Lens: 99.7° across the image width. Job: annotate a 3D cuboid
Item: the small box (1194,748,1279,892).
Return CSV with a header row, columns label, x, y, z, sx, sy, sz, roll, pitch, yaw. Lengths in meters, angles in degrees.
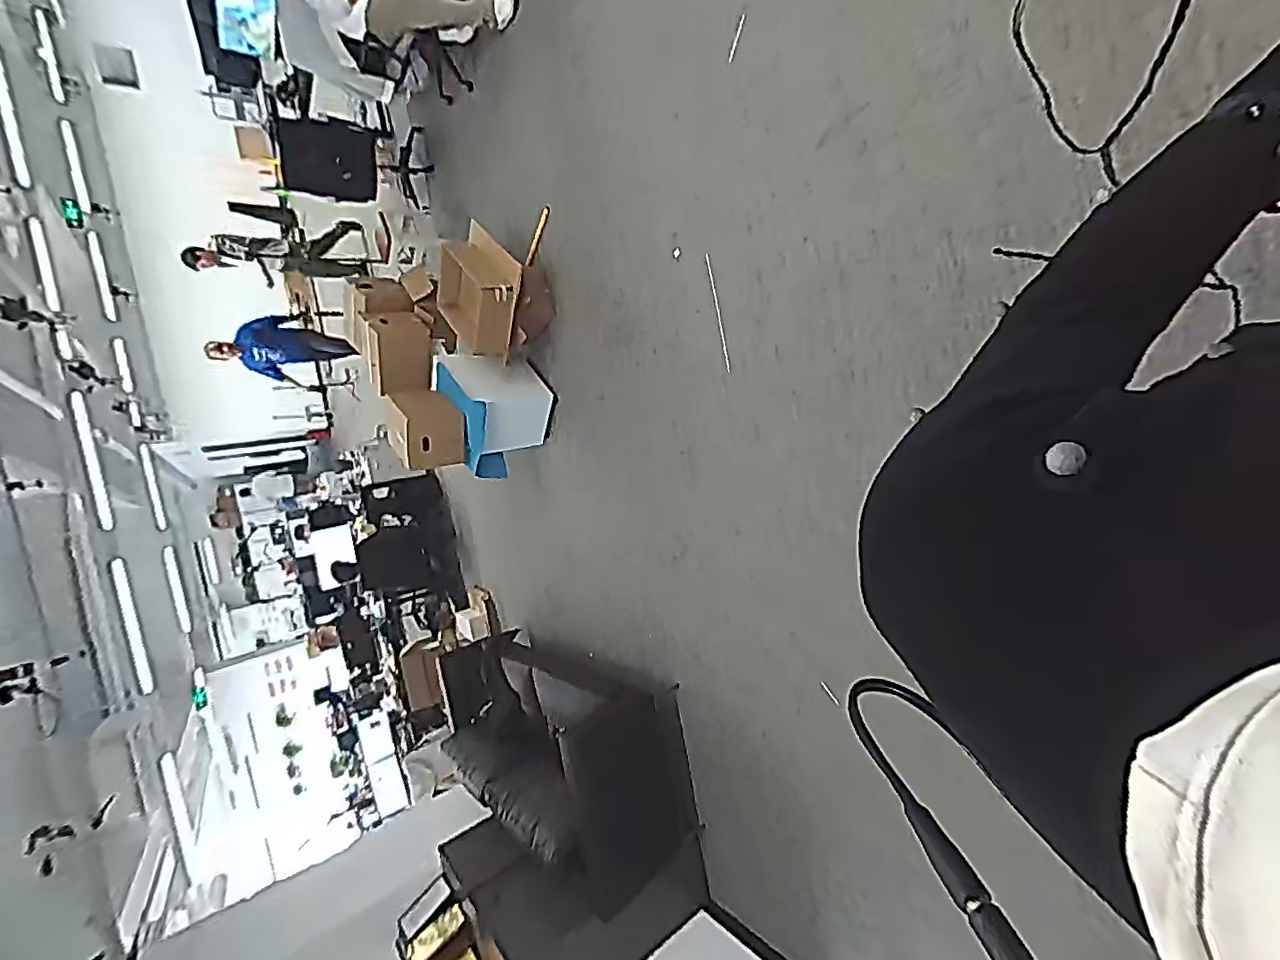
label,x,y,z,sx,sy,sz,roll,pitch,yaw
small box,1.175,0.633,1.004,0.179,0.176,0.168,-5,96,55
